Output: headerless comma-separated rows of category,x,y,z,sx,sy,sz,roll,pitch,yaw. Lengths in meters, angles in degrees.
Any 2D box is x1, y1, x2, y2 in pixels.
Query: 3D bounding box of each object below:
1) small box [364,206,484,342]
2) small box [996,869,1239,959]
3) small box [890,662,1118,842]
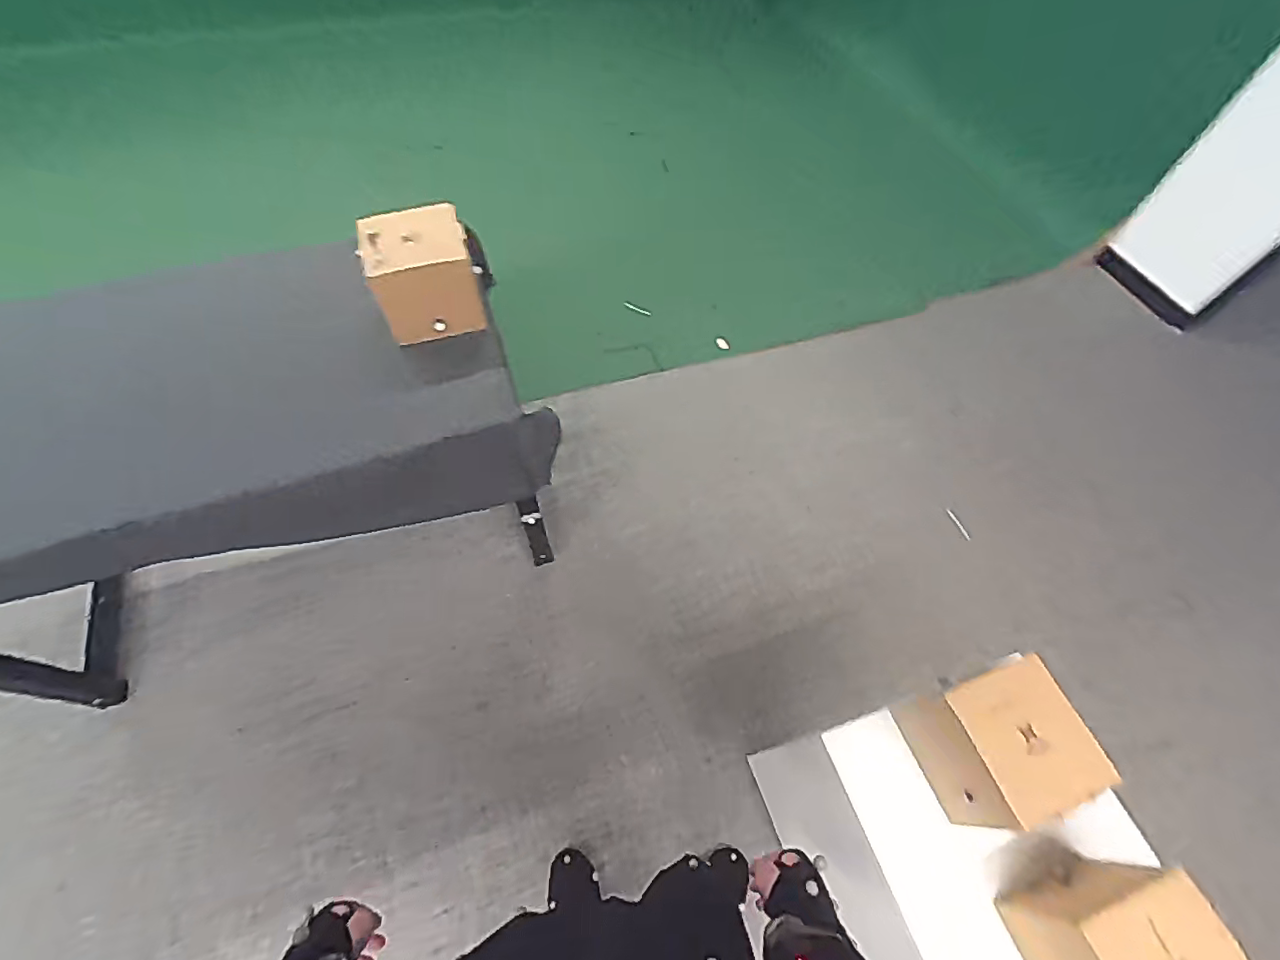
small box,-0.403,-0.390,1.031,0.179,0.176,0.168,-14,61,-13
small box,0.595,0.607,0.657,0.168,0.176,0.179,-14,60,-13
small box,0.507,0.391,0.783,0.168,0.176,0.179,-16,61,-15
